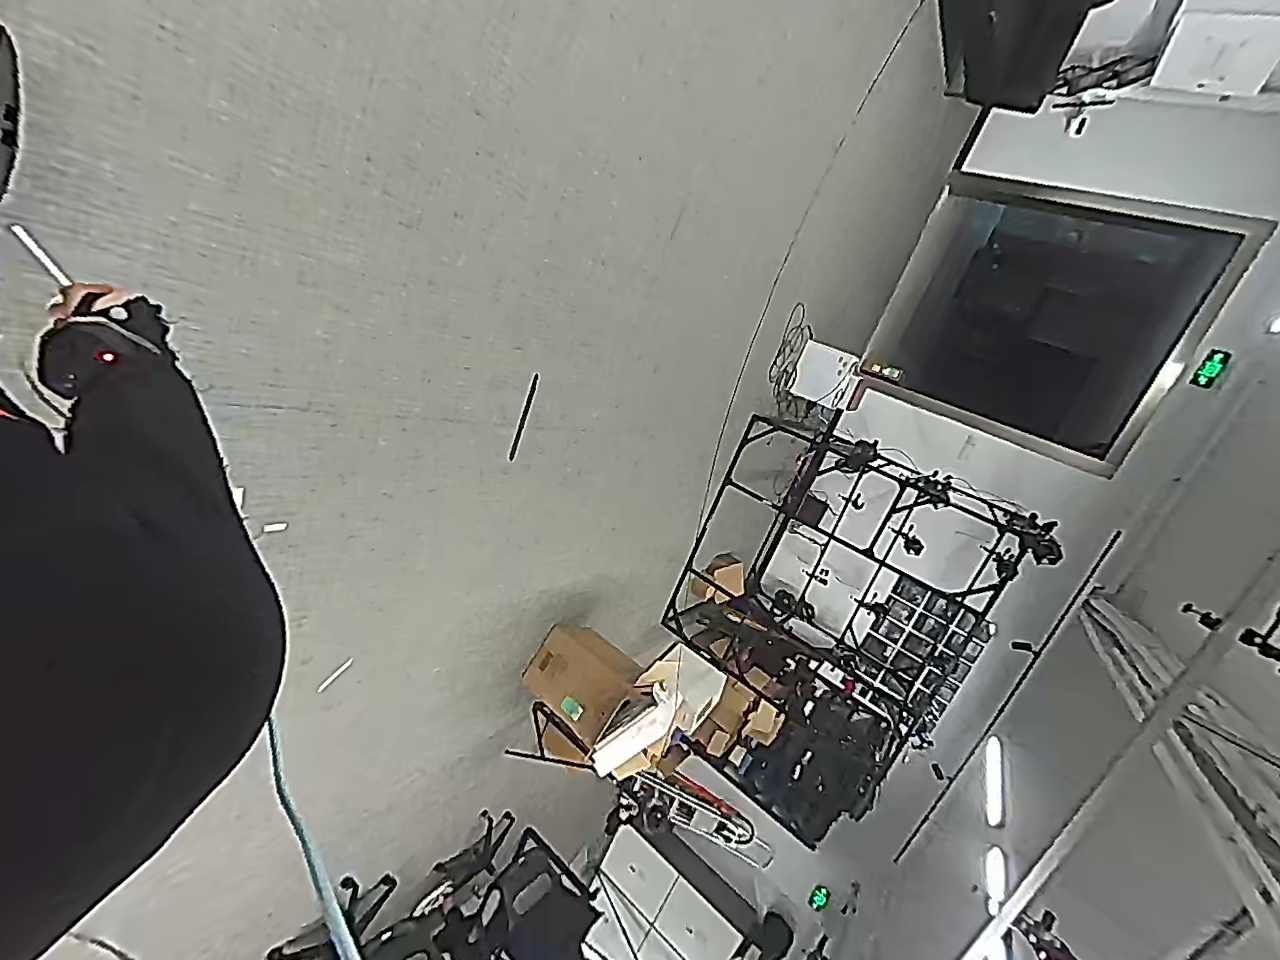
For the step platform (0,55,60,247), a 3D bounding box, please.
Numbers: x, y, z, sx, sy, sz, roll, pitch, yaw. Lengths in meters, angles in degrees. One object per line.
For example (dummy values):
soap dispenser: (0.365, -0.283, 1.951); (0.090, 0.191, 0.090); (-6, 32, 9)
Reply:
step platform: (-1.188, -0.549, 0.638); (0.684, 0.204, 0.286); (5, 110, -61)
